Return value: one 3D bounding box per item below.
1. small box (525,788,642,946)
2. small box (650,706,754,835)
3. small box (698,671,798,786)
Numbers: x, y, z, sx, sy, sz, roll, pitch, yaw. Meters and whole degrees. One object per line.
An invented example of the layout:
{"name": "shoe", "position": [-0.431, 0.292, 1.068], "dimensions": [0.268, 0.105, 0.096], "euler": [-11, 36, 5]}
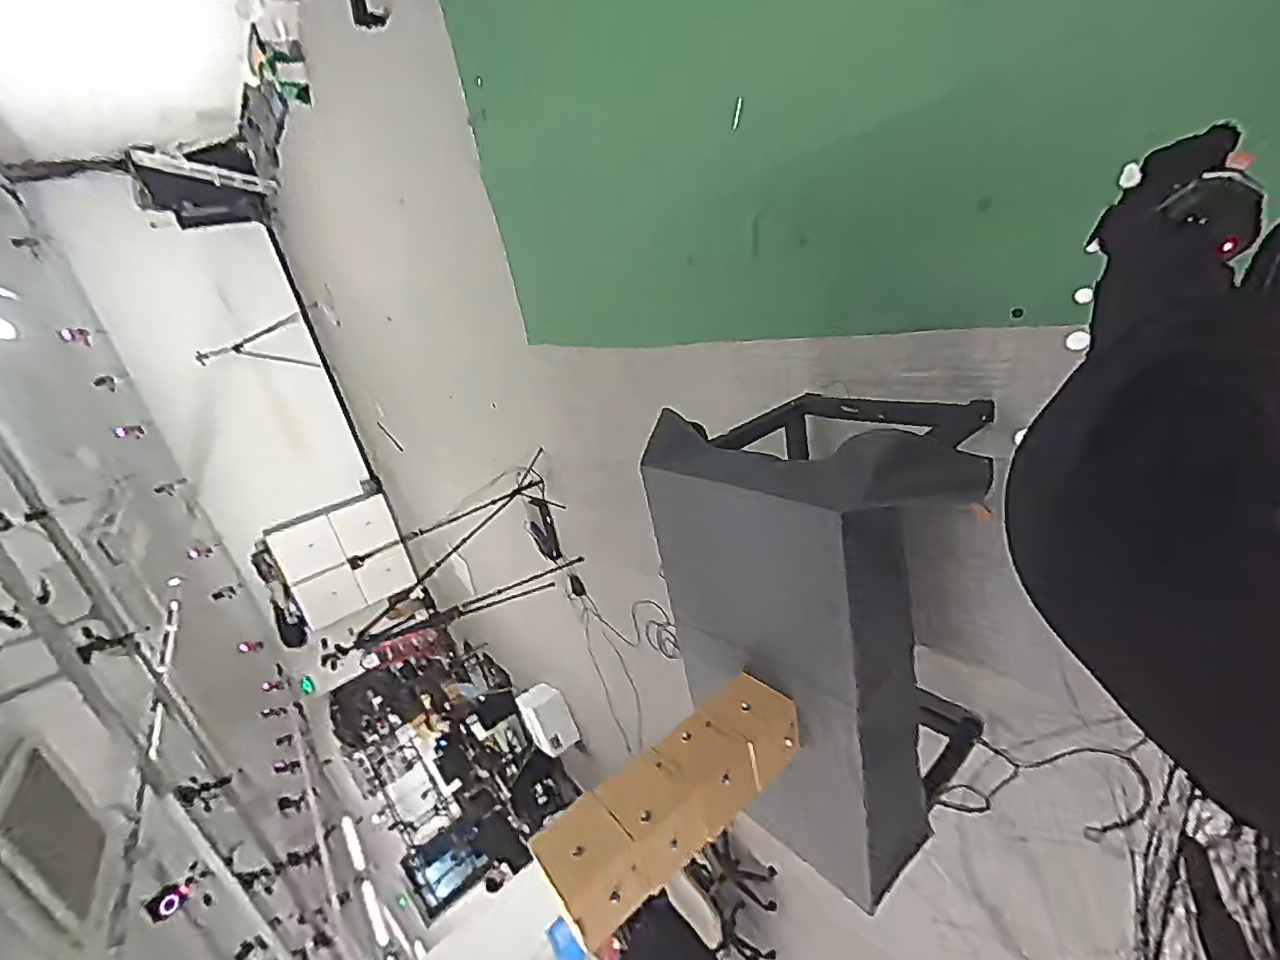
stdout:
{"name": "small box", "position": [-0.112, 0.803, 1.143], "dimensions": [0.179, 0.176, 0.168], "euler": [15, 124, 51]}
{"name": "small box", "position": [0.151, 0.683, 1.296], "dimensions": [0.168, 0.176, 0.179], "euler": [14, 123, 52]}
{"name": "small box", "position": [0.277, 0.619, 1.378], "dimensions": [0.179, 0.176, 0.168], "euler": [16, 125, 50]}
